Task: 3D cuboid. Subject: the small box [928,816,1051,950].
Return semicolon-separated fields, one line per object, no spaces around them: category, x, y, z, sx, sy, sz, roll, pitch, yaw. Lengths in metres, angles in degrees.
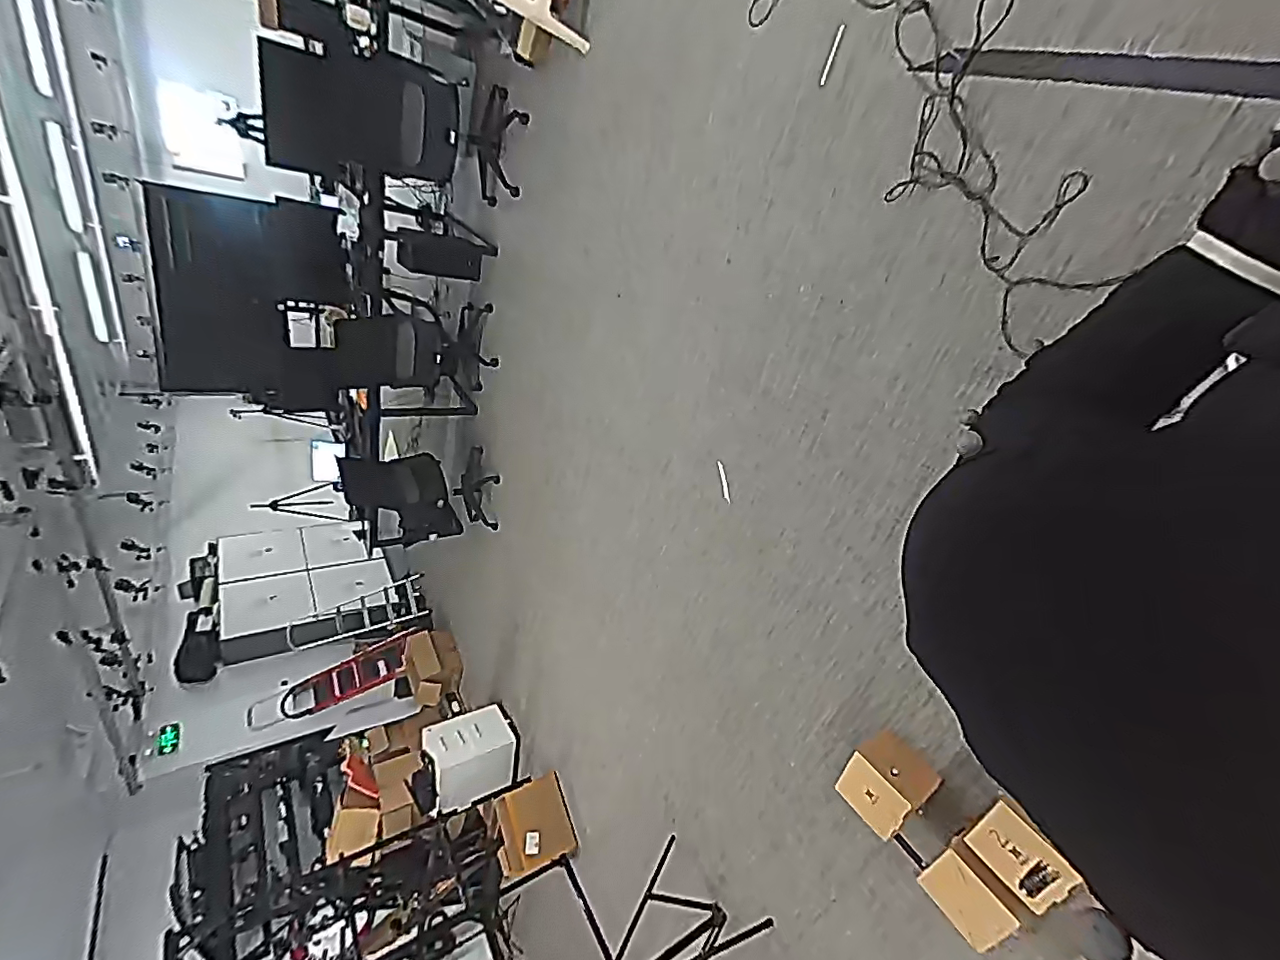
small box;0.840;0.977;1.318;0.179;0.176;0.168;46;131;41
